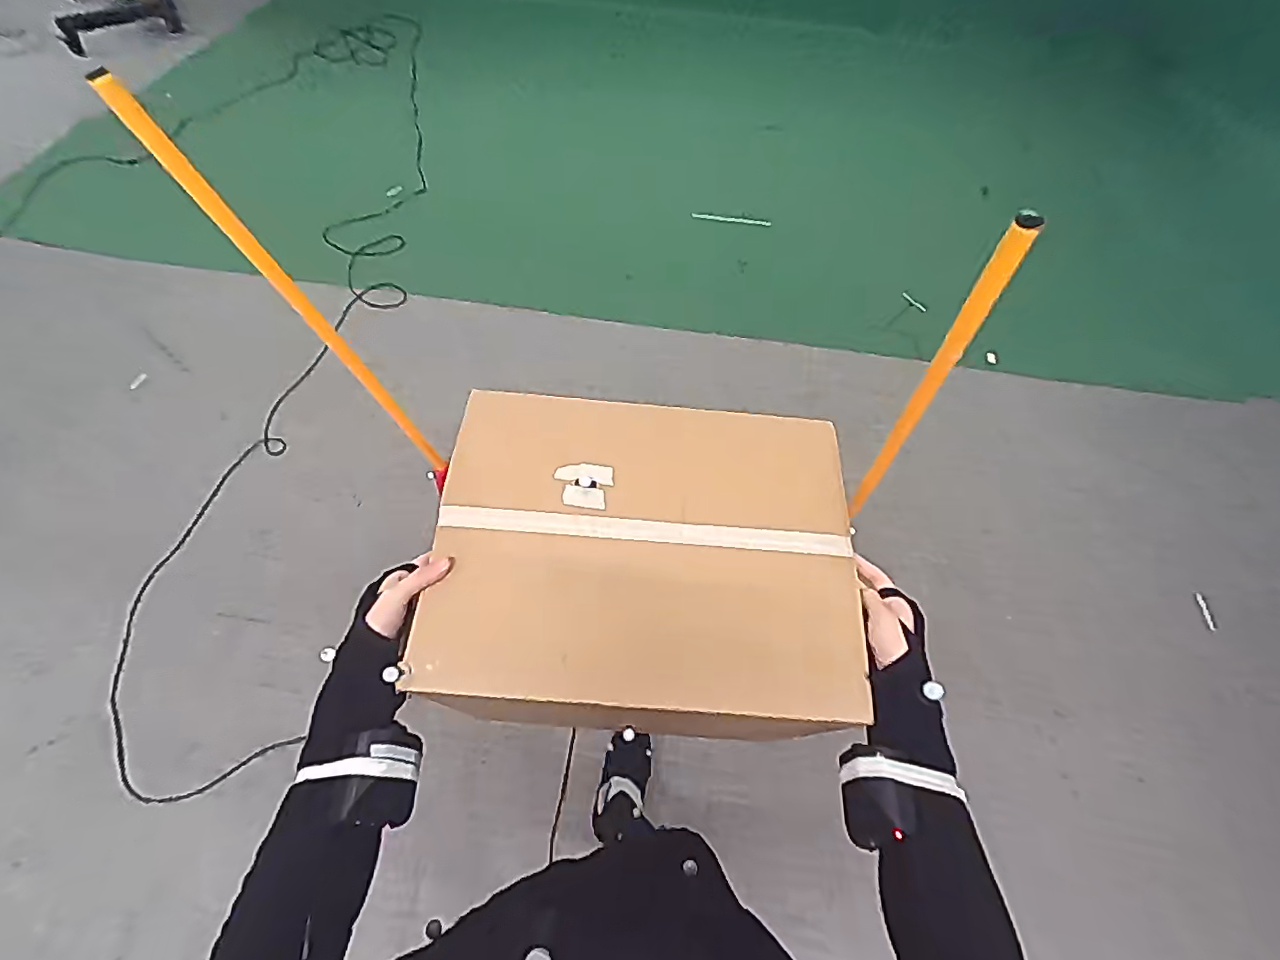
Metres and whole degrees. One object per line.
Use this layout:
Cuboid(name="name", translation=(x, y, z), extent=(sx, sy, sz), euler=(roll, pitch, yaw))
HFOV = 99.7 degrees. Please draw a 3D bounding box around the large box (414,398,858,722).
Cuboid(name="large box", translation=(-0.001, 0.122, 0.677), extent=(0.408, 0.320, 0.320), euler=(4, 61, -1))
